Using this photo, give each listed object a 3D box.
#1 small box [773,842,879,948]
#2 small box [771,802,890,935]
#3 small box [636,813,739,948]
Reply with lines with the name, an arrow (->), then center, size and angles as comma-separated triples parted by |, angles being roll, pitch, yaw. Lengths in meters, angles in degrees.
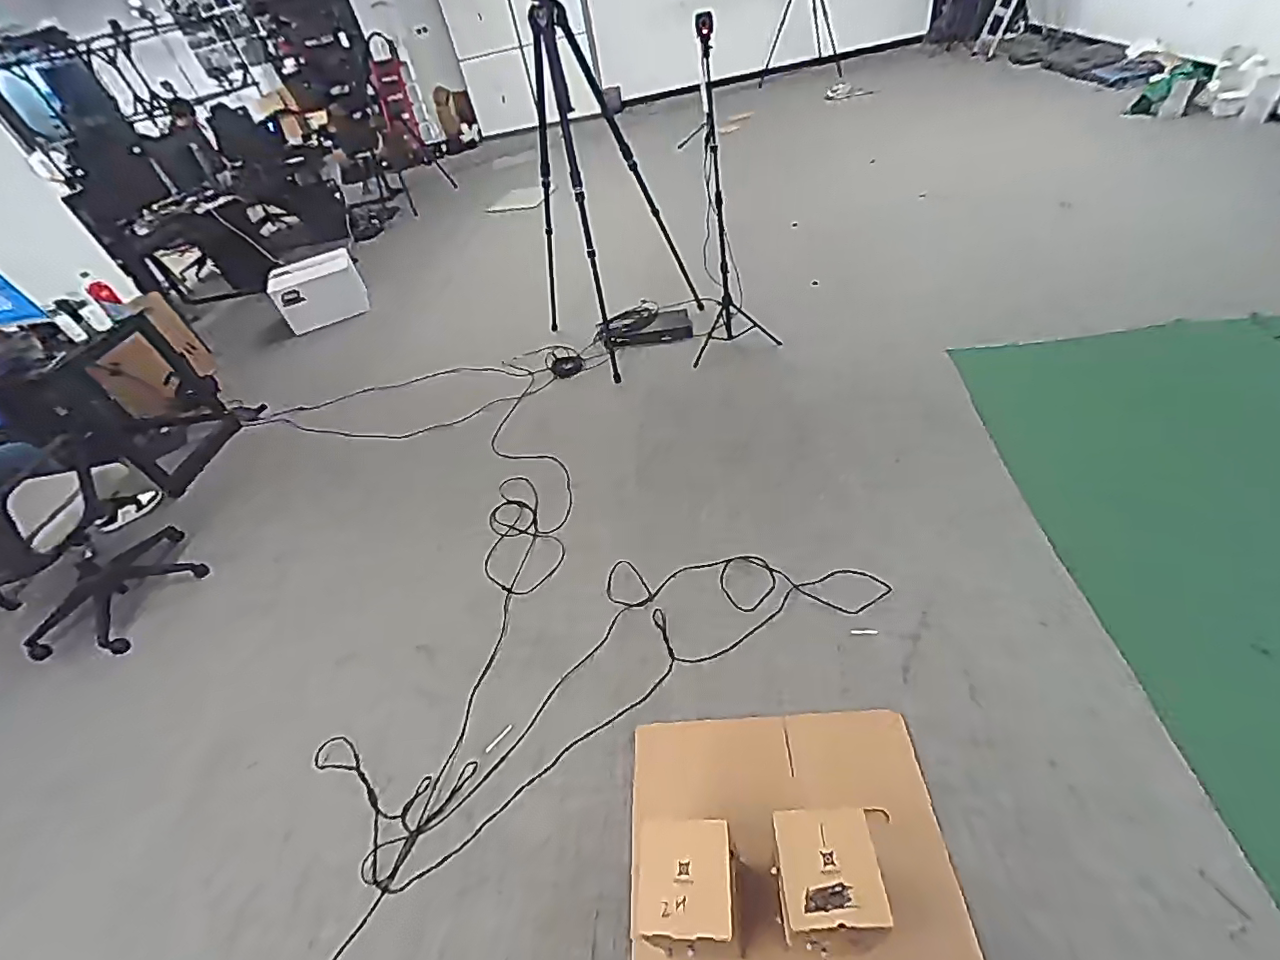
small box -> 0.367, 0.831, 1.102 | 0.168, 0.176, 0.179 | -8, 45, 7
small box -> 0.339, 0.714, 0.990 | 0.168, 0.176, 0.179 | -8, 44, 7
small box -> 0.095, 0.750, 1.015 | 0.168, 0.176, 0.179 | -6, 44, 11
